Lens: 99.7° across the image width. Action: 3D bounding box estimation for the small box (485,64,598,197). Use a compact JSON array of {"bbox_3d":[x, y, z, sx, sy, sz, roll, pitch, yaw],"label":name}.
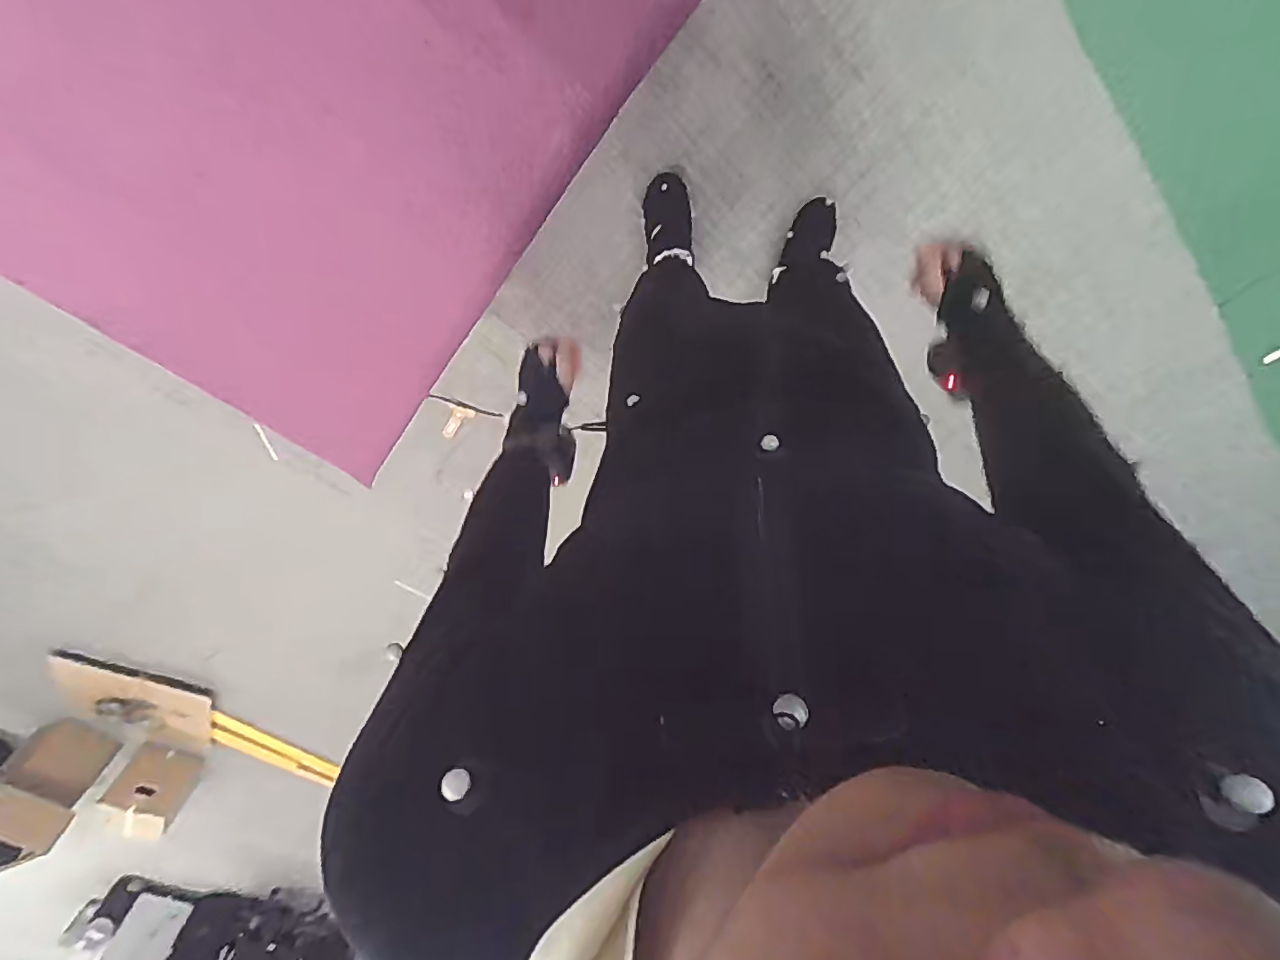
[{"bbox_3d":[-0.206,-0.762,1.182,0.168,0.176,0.179,37,120,-21],"label":"small box"}]
